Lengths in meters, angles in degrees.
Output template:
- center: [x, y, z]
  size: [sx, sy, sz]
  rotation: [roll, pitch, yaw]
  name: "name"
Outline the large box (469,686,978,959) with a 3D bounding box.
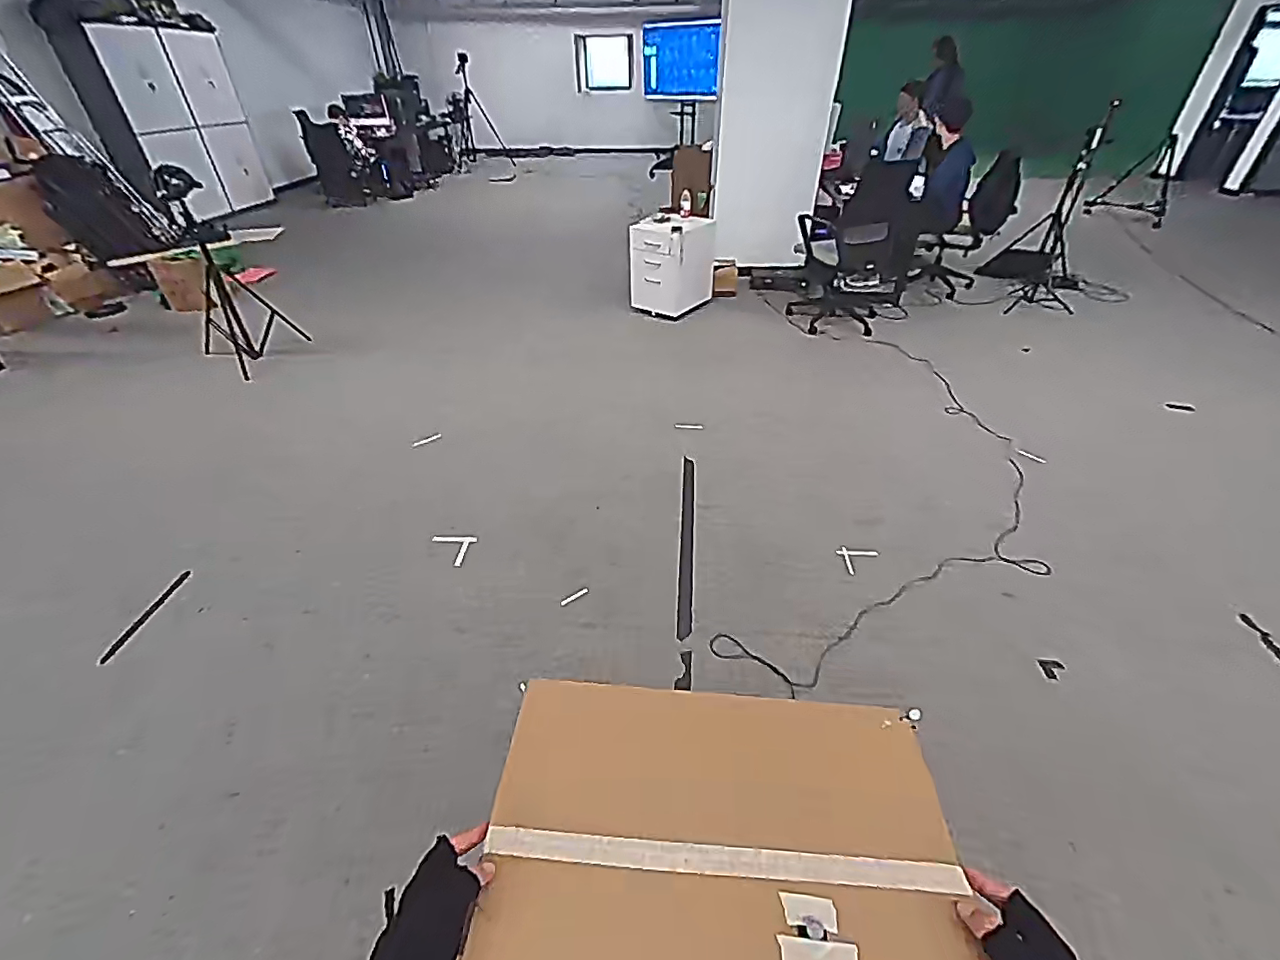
- center: [0.063, 0.449, 0.559]
  size: [0.408, 0.320, 0.320]
  rotation: [4, 38, 2]
  name: "large box"
